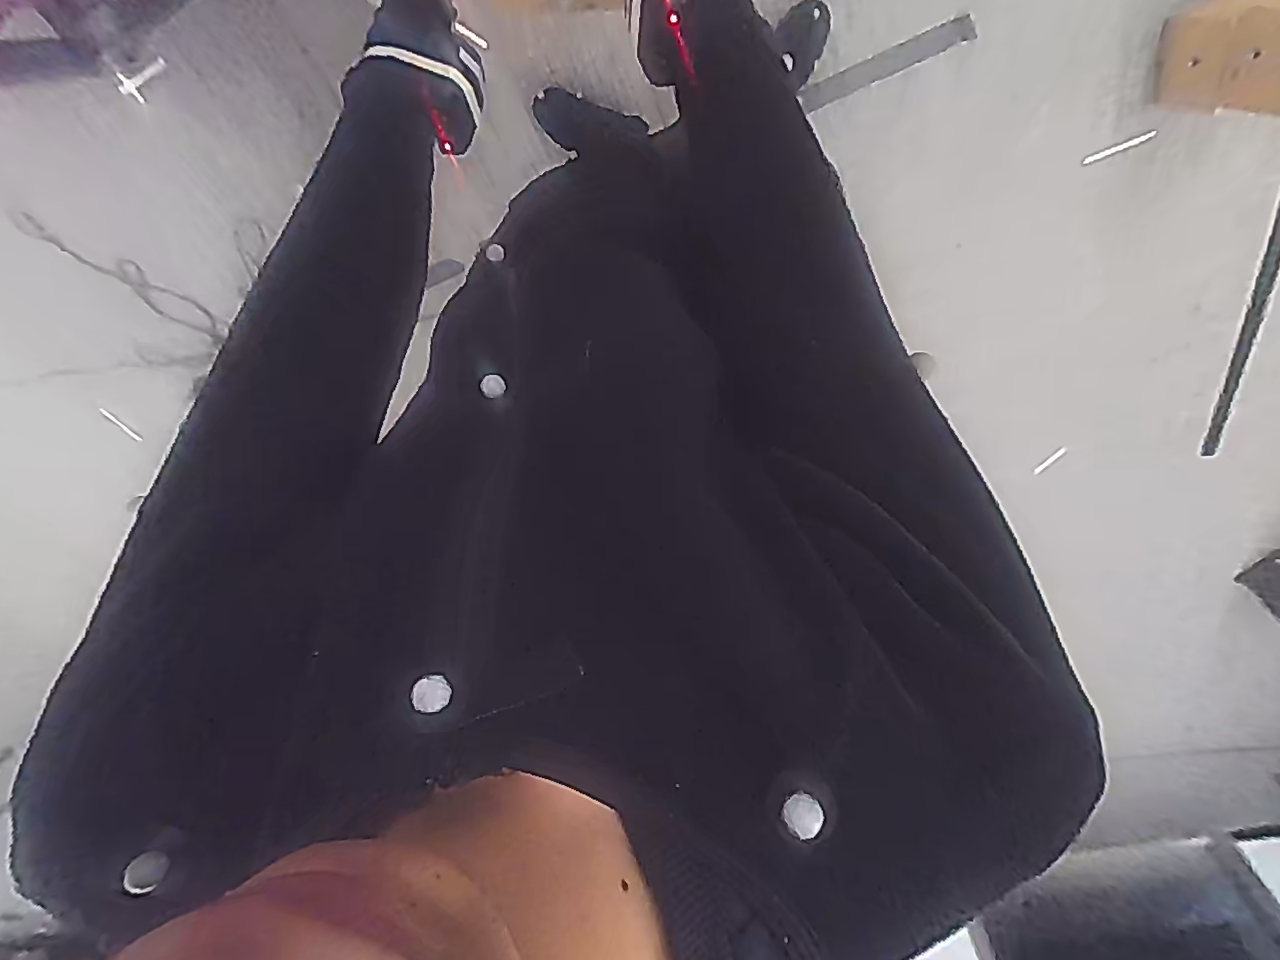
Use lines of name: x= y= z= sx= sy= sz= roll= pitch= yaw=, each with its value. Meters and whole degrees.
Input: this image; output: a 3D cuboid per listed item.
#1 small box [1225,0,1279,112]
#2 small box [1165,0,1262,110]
small box: x=1.233 y=-0.793 z=0.964 sx=0.179 sy=0.176 sz=0.168 roll=-17 pitch=130 yaw=14
small box: x=1.221 y=-0.893 z=1.092 sx=0.168 sy=0.176 sz=0.179 roll=-21 pitch=128 yaw=16
